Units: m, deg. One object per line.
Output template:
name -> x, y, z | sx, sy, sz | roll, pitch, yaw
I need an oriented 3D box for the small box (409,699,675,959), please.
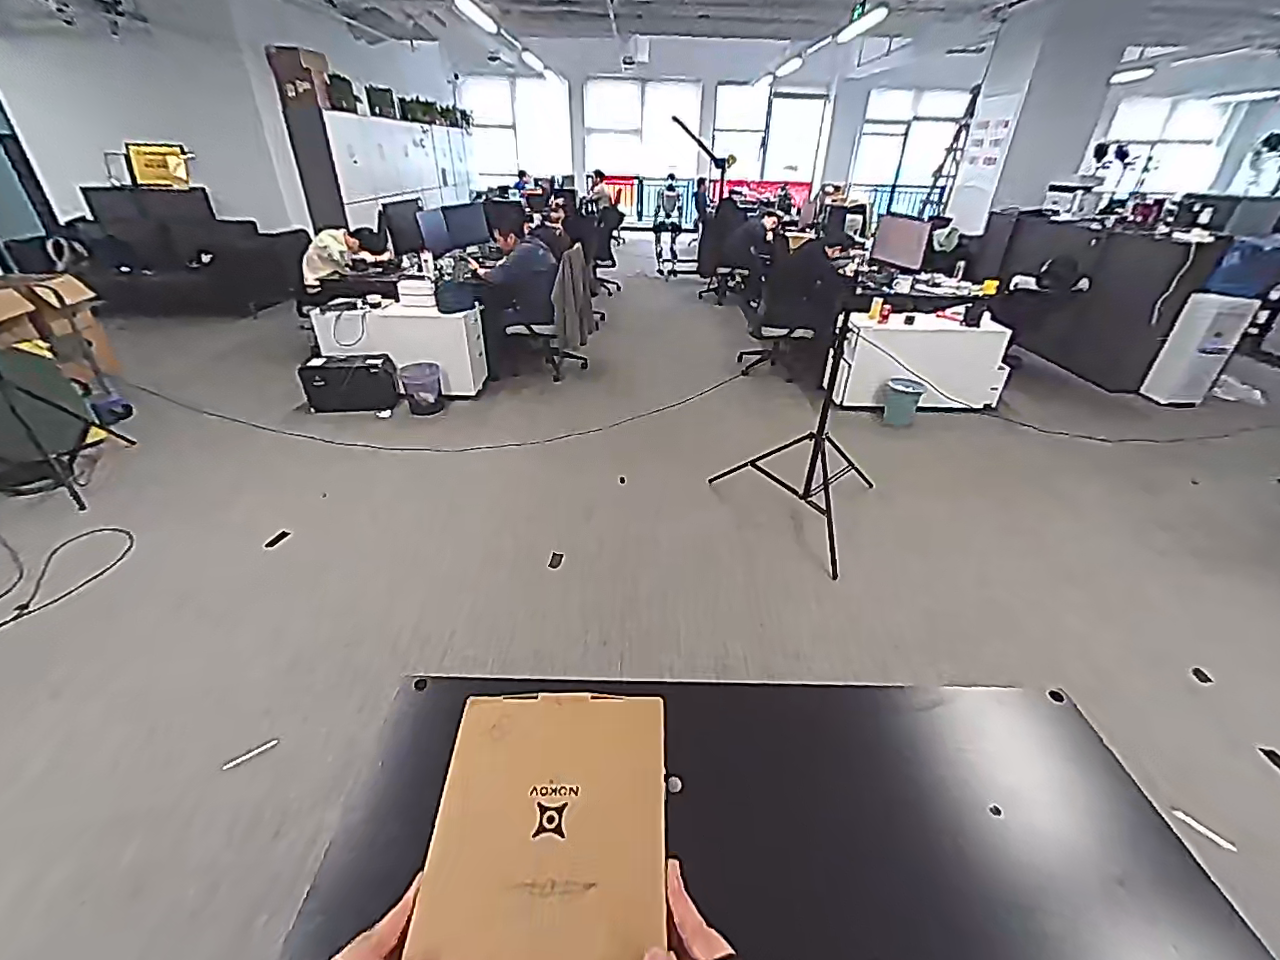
small box -> -0.059, 0.300, 0.440 | 0.168, 0.176, 0.179 | -1, 44, 1
